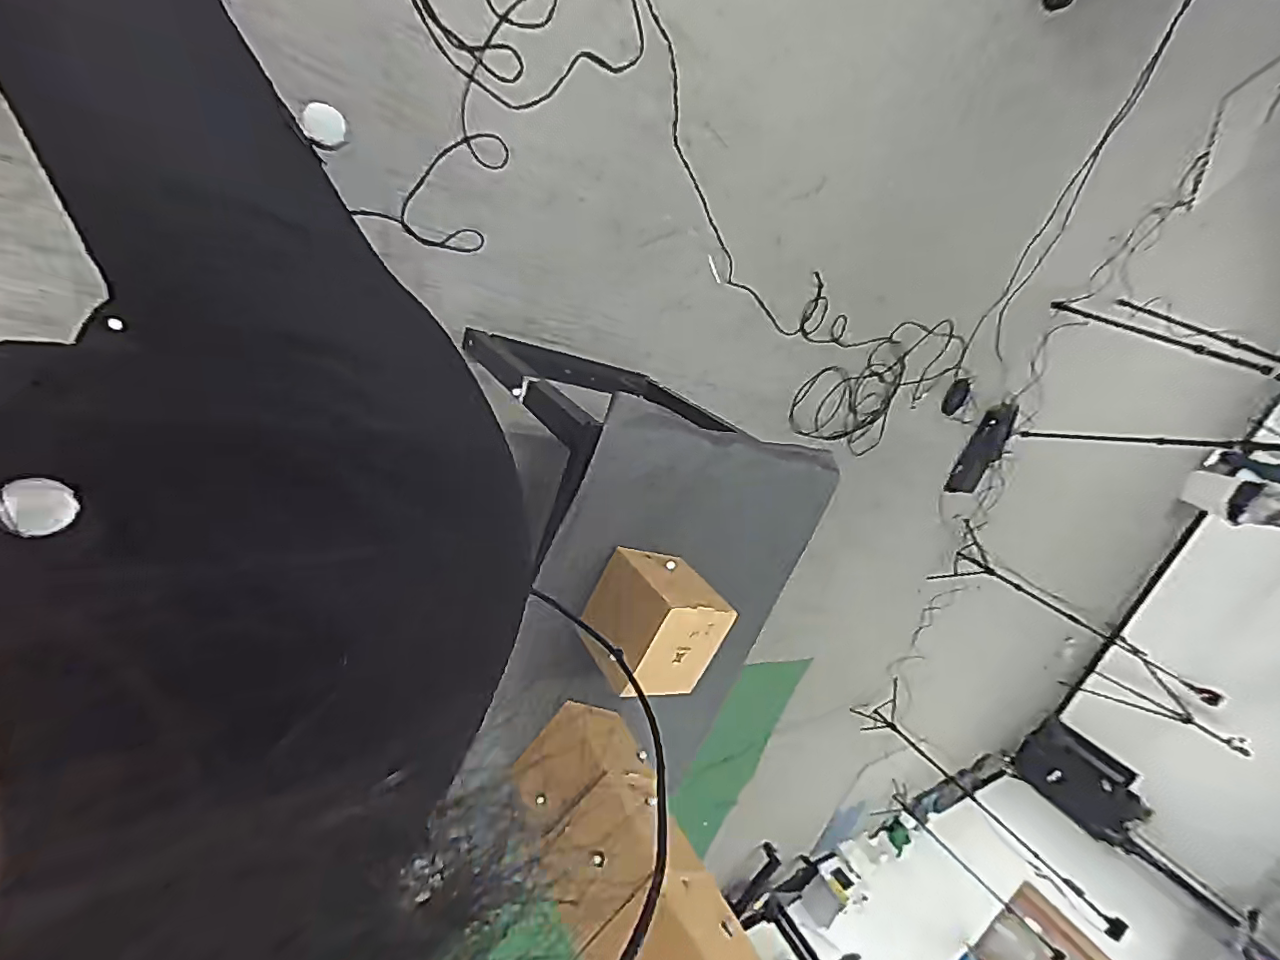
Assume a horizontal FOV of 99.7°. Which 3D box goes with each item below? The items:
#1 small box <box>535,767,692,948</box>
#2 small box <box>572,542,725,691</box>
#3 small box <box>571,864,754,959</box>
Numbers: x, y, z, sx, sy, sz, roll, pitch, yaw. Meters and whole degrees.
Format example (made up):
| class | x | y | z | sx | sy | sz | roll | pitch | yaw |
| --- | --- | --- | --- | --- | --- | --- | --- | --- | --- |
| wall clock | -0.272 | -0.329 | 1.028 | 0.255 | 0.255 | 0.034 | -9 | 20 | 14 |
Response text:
| class | x | y | z | sx | sy | sz | roll | pitch | yaw |
| --- | --- | --- | --- | --- | --- | --- | --- | --- | --- |
| small box | -0.052 | 0.619 | 0.894 | 0.179 | 0.176 | 0.168 | -45 | 134 | -4 |
| small box | 0.005 | 0.233 | 0.925 | 0.168 | 0.176 | 0.179 | 17 | 106 | -42 |
| small box | 0.033 | 0.690 | 0.775 | 0.179 | 0.176 | 0.168 | -46 | 134 | -2 |
